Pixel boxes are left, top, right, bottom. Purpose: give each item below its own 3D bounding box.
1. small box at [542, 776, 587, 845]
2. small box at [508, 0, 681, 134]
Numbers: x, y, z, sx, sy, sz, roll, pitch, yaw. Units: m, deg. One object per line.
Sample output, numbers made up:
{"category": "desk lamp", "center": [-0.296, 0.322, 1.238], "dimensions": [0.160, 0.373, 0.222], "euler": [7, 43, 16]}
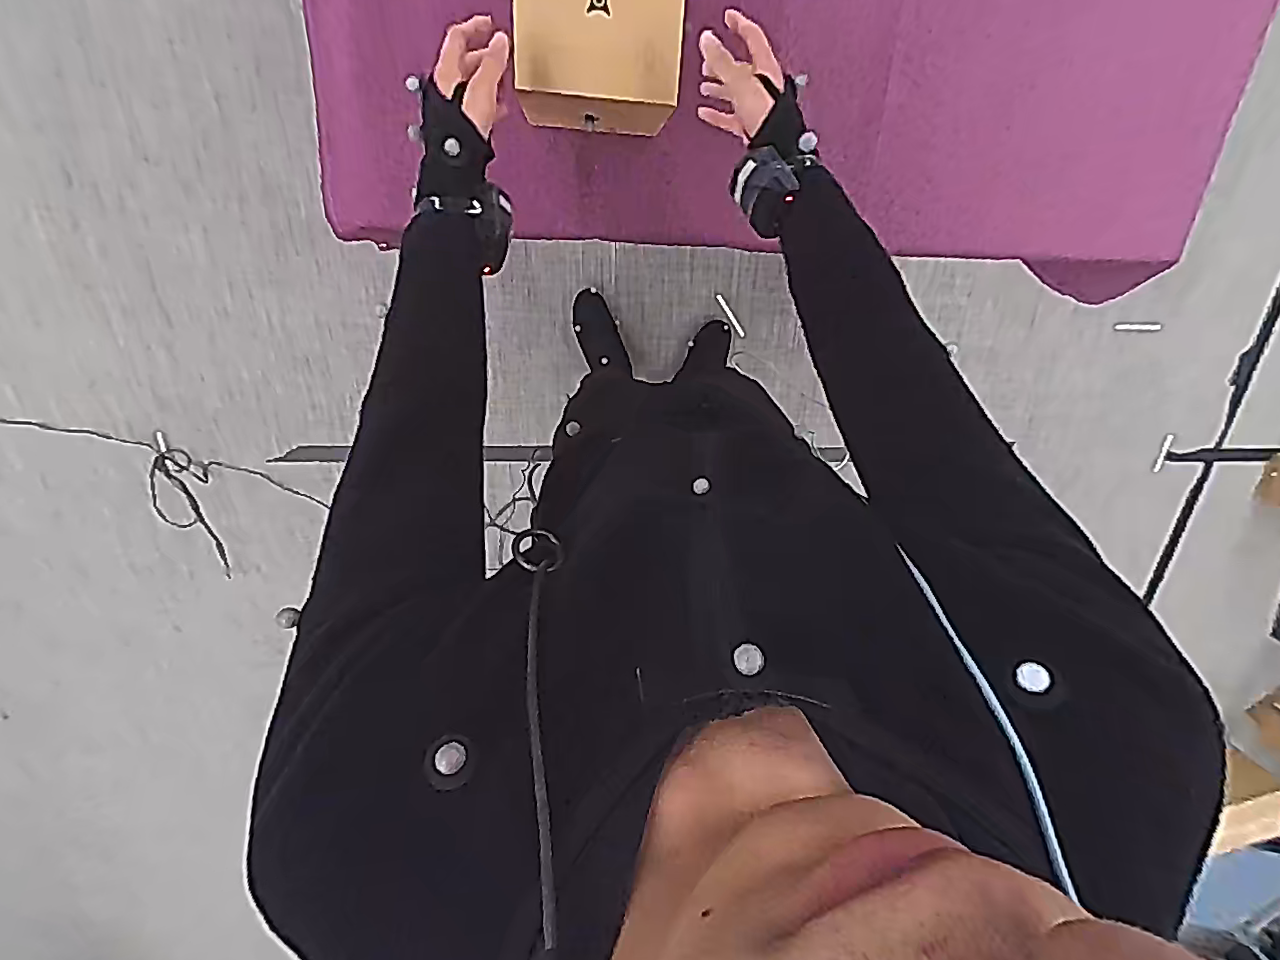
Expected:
{"category": "small box", "center": [-0.295, 1.290, 2.120], "dimensions": [0.168, 0.176, 0.179], "euler": [2, 114, -7]}
{"category": "small box", "center": [-0.049, -0.492, 0.582], "dimensions": [0.168, 0.176, 0.179], "euler": [1, 113, -7]}
